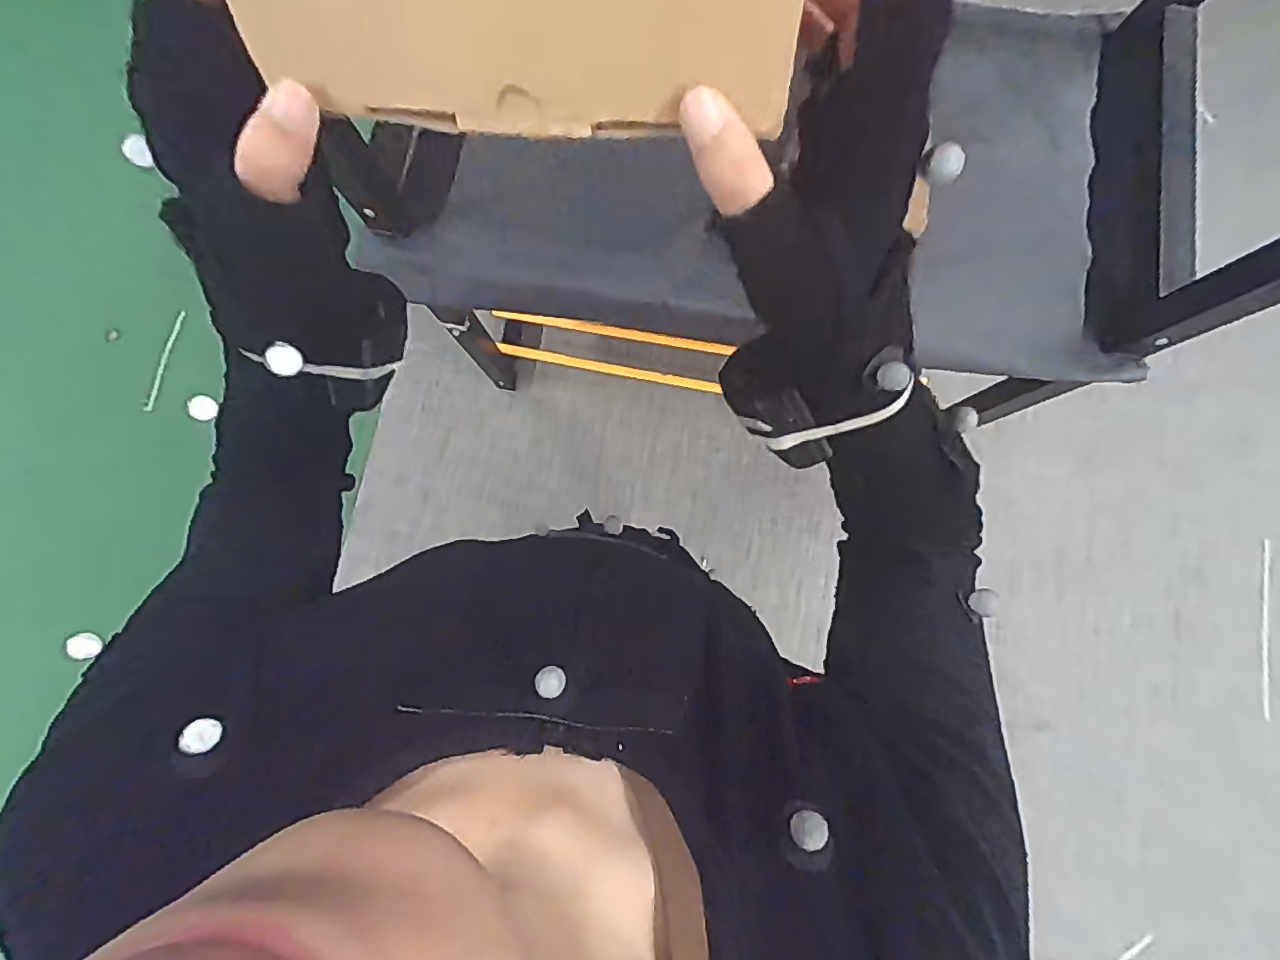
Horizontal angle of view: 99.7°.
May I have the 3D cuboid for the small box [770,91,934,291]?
[{"bbox_3d":[0.290,-0.399,0.768,0.168,0.176,0.179,8,81,2],"label":"small box"}]
